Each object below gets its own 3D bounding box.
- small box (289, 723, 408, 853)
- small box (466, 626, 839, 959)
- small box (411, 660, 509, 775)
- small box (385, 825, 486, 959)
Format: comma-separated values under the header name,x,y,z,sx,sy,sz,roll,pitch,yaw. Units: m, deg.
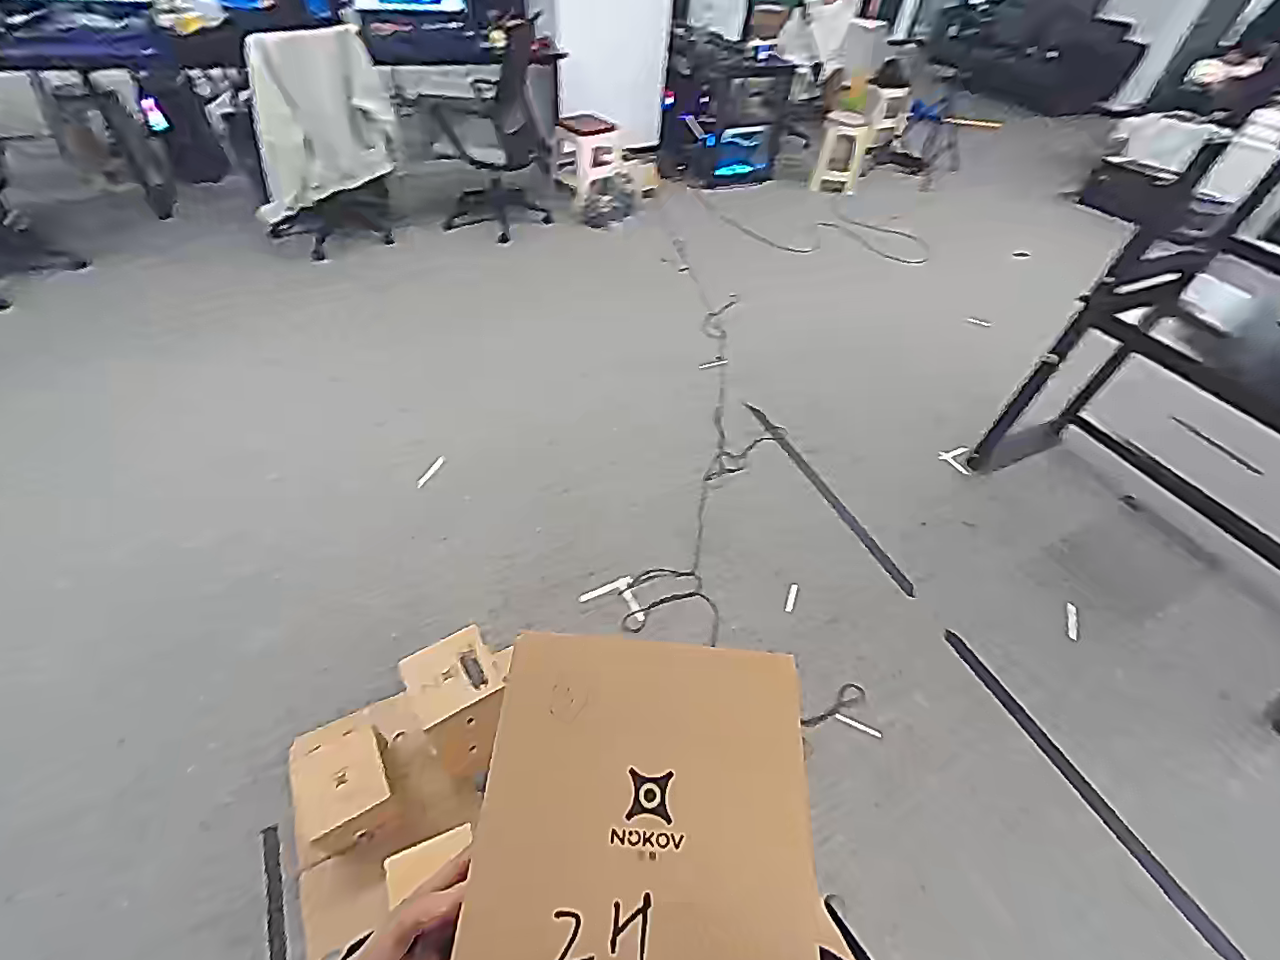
name,x,y,z,sx,sy,sz,roll,pitch,yaw
small box,-0.634,0.678,1.187,0.168,0.176,0.179,-24,55,-23
small box,0.006,0.209,0.332,0.168,0.176,0.179,6,56,0
small box,-0.426,0.573,1.303,0.179,0.176,0.168,-22,54,-24
small box,-0.393,0.829,1.074,0.168,0.176,0.179,-15,52,-19
